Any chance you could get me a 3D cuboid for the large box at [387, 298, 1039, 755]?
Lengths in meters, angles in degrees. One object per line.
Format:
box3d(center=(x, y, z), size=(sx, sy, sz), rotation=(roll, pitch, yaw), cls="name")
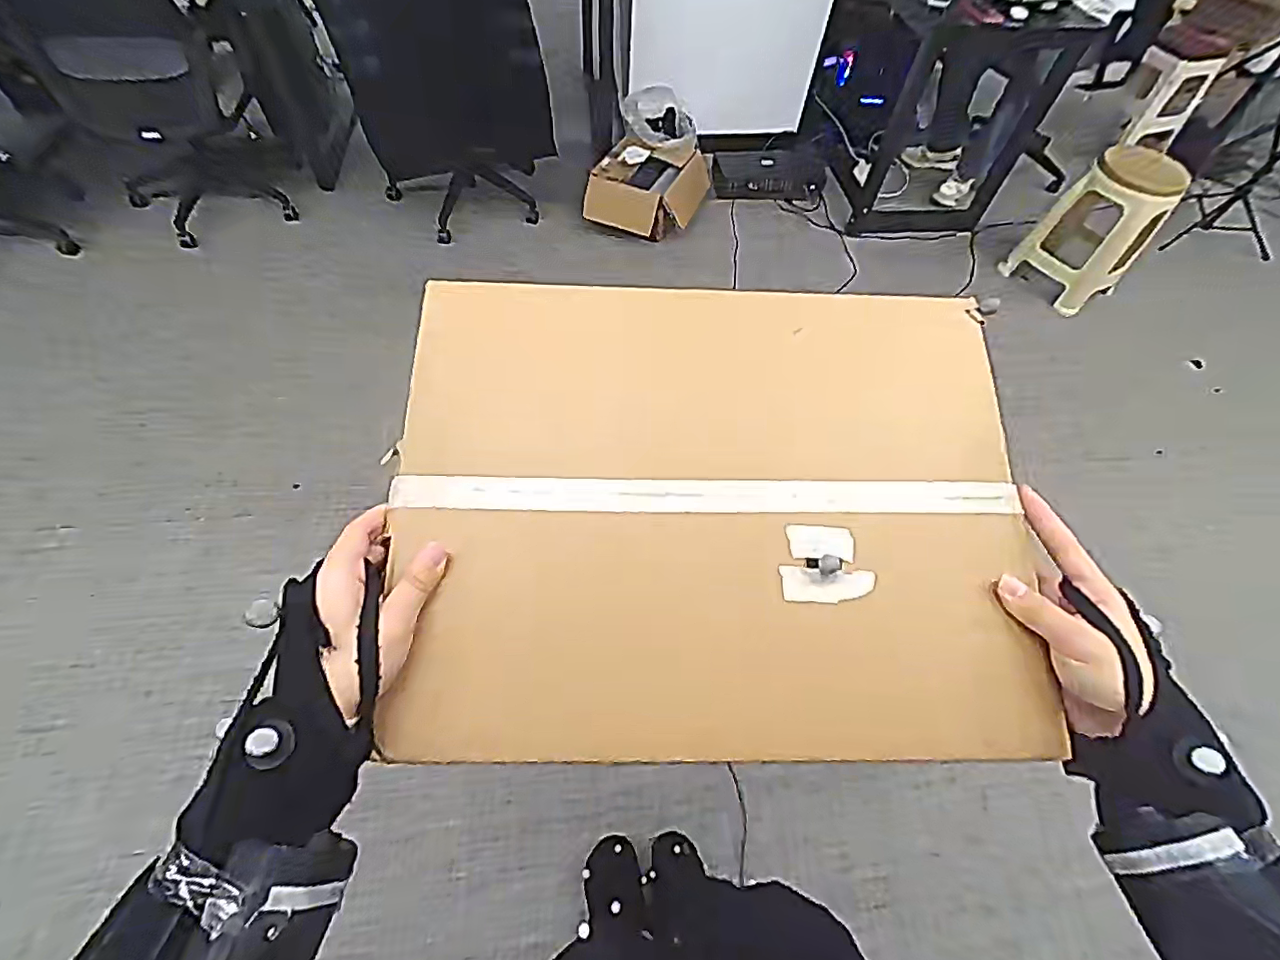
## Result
box3d(center=(0.039, 0.055, 0.507), size=(0.408, 0.320, 0.320), rotation=(1, 74, -3), cls="large box")
